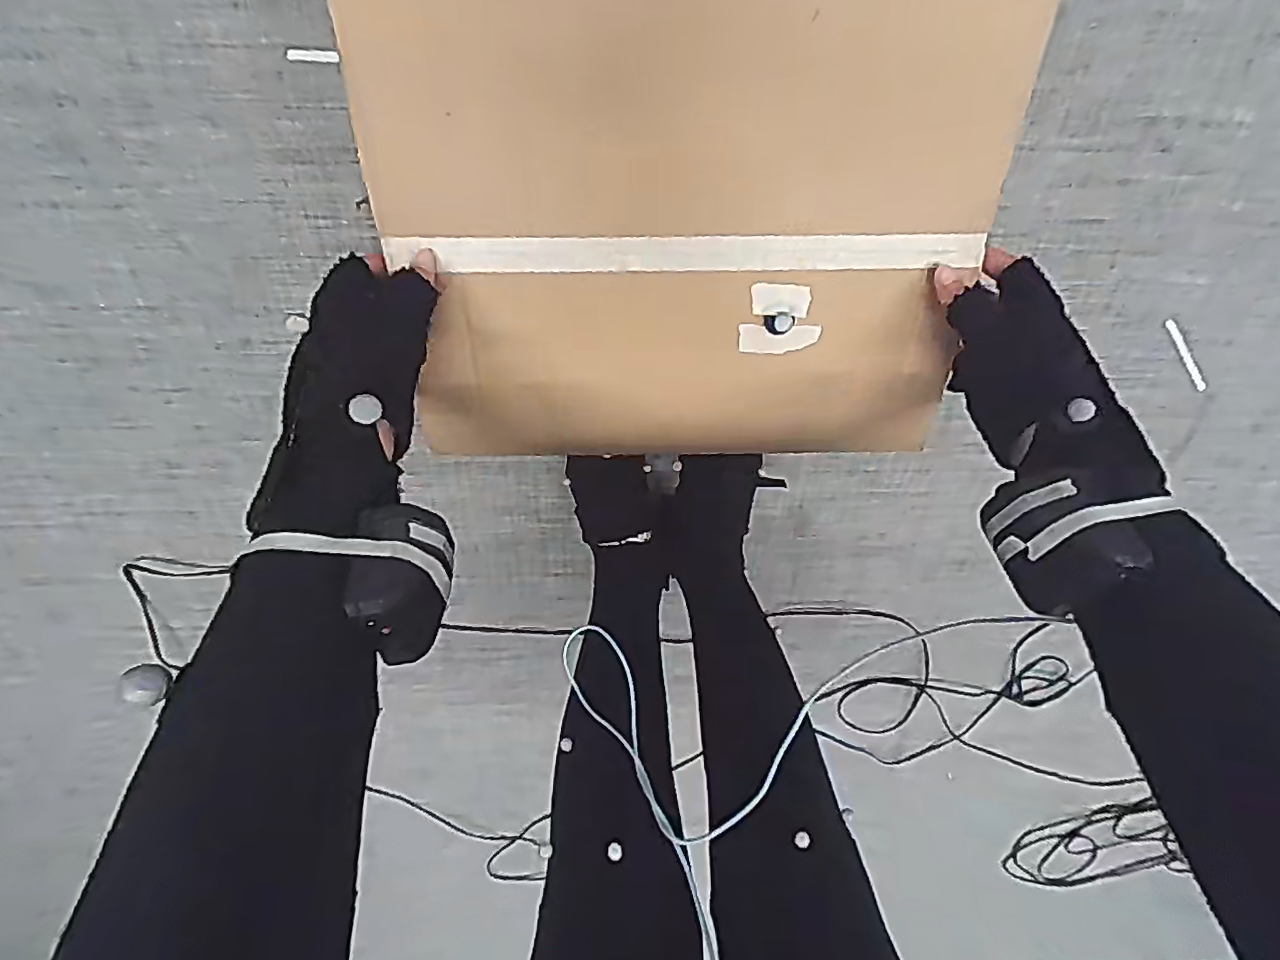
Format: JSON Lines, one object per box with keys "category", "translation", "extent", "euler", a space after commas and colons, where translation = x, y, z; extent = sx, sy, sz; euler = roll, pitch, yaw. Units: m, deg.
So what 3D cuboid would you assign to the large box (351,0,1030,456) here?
{"category": "large box", "translation": [0.028, -0.232, 0.511], "extent": [0.408, 0.320, 0.320], "euler": [-1, 121, -2]}
